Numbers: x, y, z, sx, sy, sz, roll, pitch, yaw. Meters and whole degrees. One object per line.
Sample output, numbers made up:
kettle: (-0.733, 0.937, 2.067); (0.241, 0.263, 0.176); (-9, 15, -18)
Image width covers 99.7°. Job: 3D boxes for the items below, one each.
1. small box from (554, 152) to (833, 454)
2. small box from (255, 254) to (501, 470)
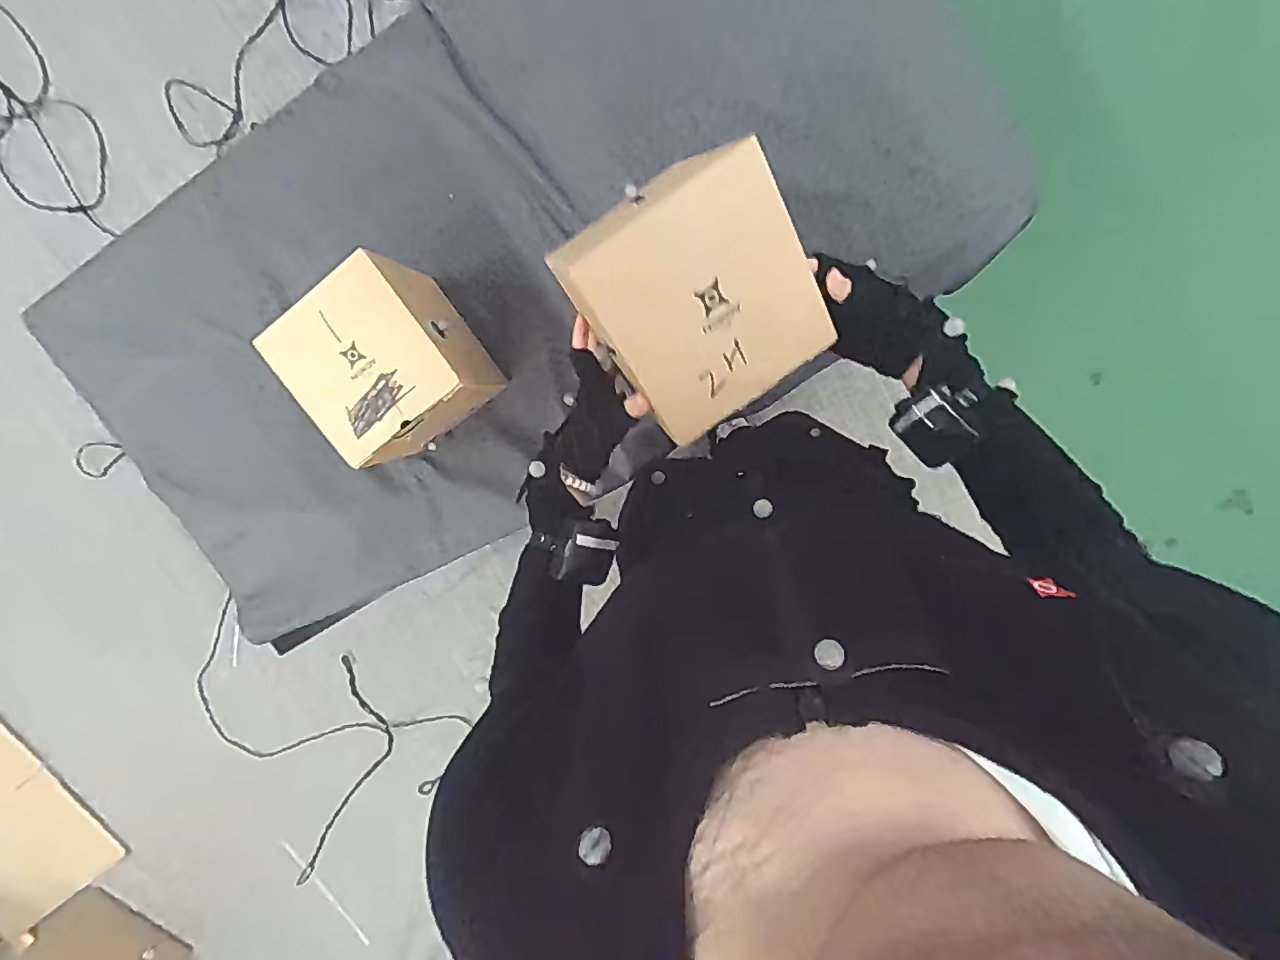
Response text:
small box: (0.037, -0.159, 0.495); (0.168, 0.176, 0.179); (-34, 118, 3)
small box: (-0.301, -0.138, 0.663); (0.168, 0.176, 0.179); (-35, 95, 8)
